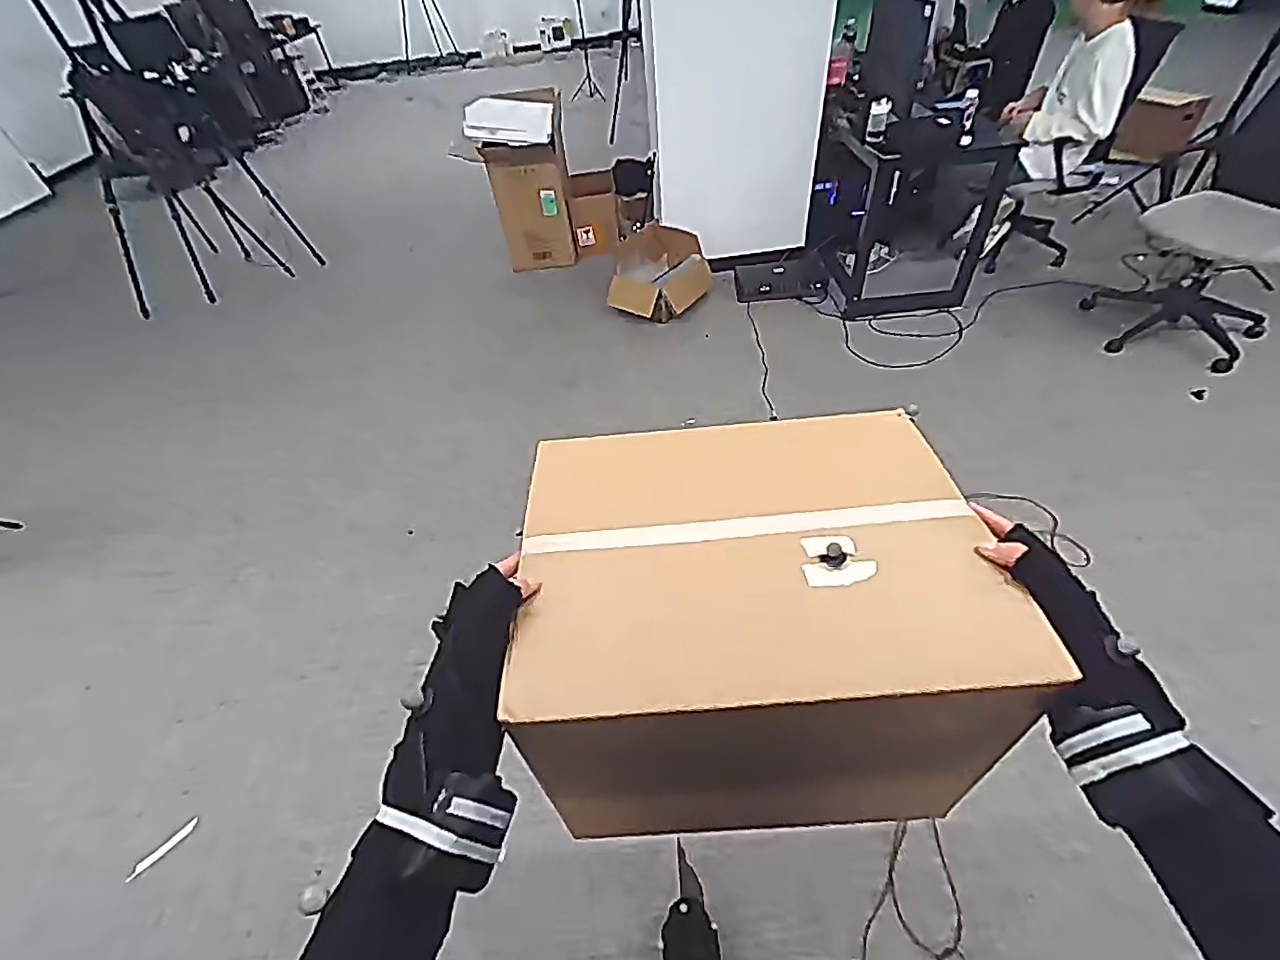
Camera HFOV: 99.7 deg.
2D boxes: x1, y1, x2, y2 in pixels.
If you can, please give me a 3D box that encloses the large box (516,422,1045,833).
[{"bbox_3d":[0.107,0.164,0.607,0.408,0.320,0.320,-5,43,2],"label":"large box"}]
